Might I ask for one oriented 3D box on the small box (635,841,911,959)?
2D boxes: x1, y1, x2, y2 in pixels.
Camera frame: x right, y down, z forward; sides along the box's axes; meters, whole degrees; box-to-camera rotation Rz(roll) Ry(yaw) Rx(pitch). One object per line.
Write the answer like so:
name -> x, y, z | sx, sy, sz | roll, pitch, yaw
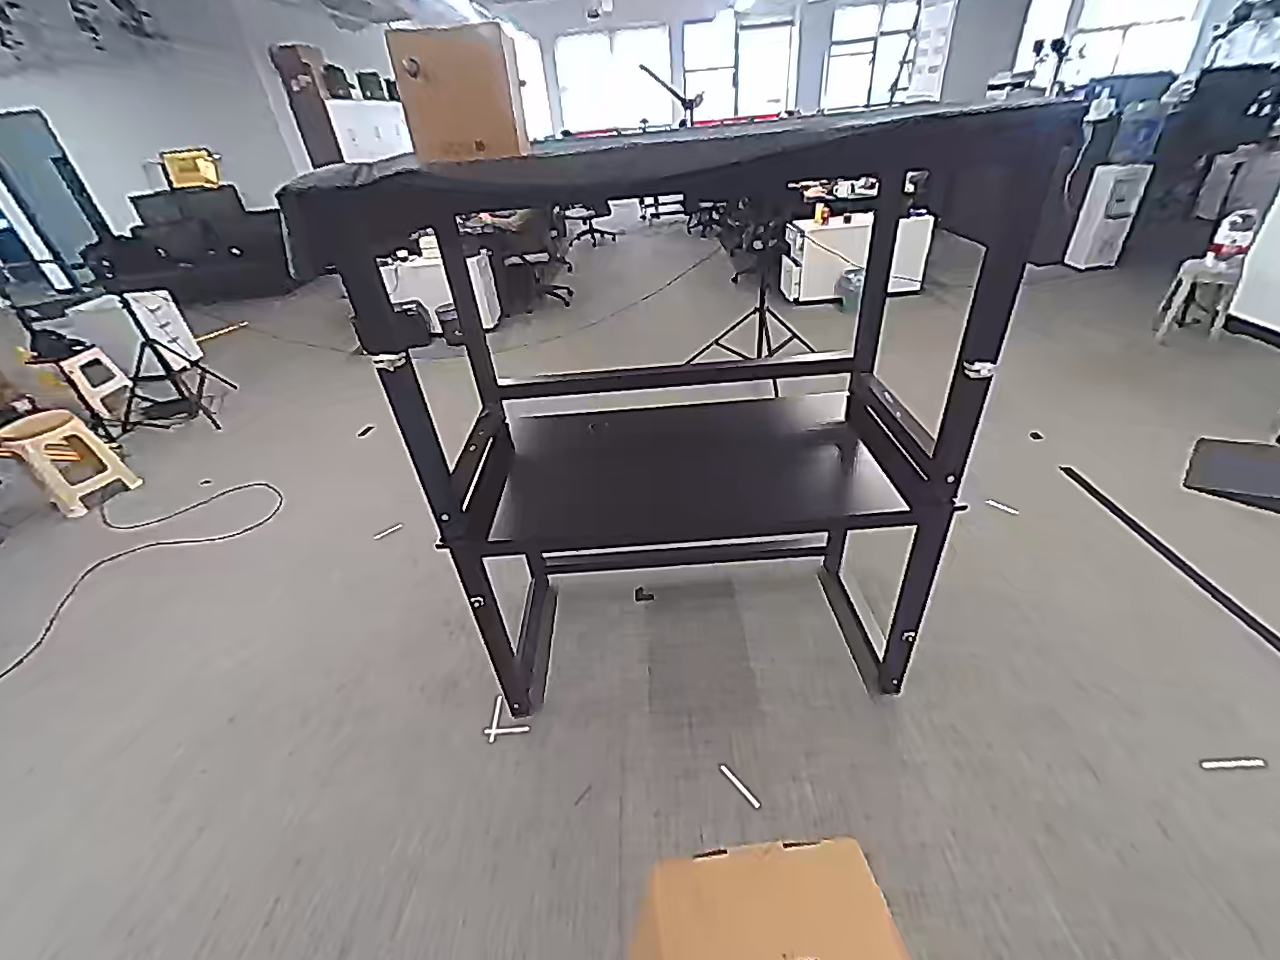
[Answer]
small box -> 0.091, 0.390, 0.373 | 0.168, 0.176, 0.179 | 1, 31, -10
